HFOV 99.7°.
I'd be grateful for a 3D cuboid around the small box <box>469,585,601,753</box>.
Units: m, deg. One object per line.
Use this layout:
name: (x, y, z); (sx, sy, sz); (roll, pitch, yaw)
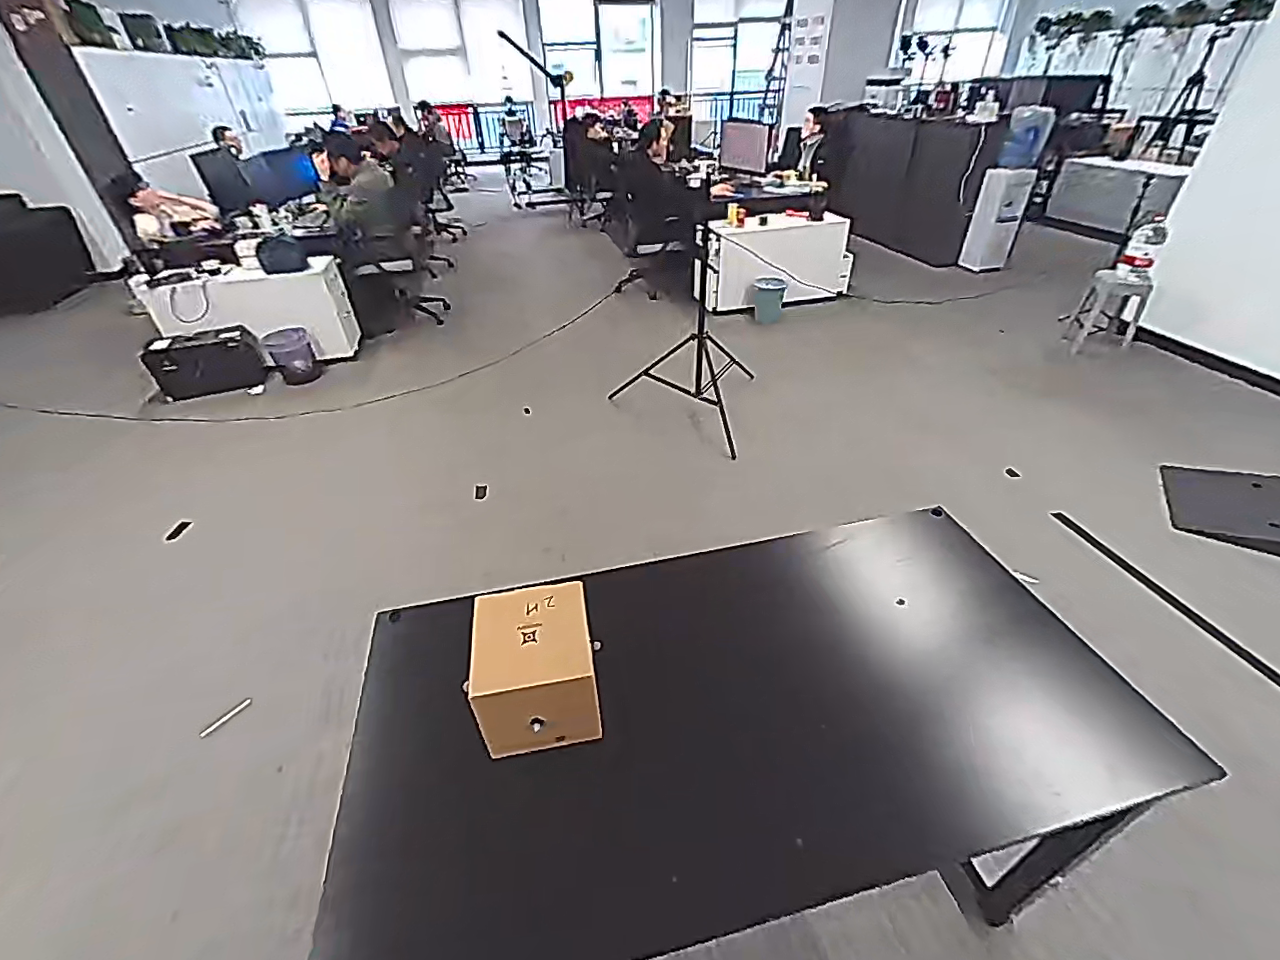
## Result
small box: (-0.154, 0.292, 0.827); (0.168, 0.176, 0.179); (-8, 36, -7)
